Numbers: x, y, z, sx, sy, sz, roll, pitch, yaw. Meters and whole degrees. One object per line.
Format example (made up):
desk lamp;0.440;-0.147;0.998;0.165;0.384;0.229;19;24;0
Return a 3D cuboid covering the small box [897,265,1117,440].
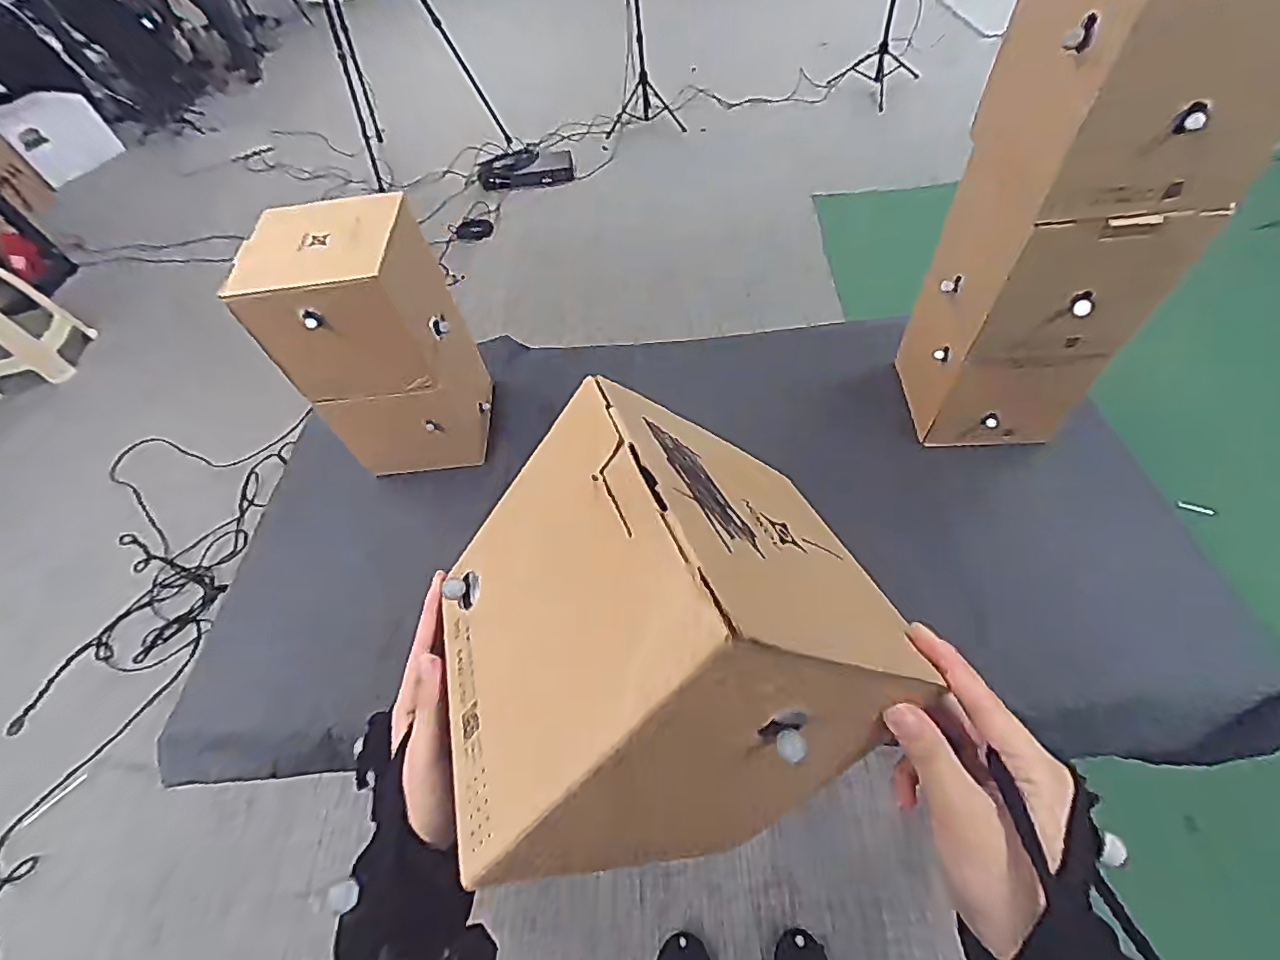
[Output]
small box;0.467;-0.173;0.728;0.168;0.176;0.179;-2;56;6

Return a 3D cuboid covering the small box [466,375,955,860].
small box;0.018;0.079;0.299;0.176;0.179;0.168;-50;40;21

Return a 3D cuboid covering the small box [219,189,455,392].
small box;-0.351;-0.225;0.667;0.179;0.176;0.168;-6;57;1

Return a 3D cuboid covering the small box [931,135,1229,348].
small box;0.447;-0.259;0.591;0.168;0.176;0.179;-2;57;6

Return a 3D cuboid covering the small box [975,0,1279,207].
small box;0.422;-0.351;0.455;0.168;0.176;0.179;-3;56;5
